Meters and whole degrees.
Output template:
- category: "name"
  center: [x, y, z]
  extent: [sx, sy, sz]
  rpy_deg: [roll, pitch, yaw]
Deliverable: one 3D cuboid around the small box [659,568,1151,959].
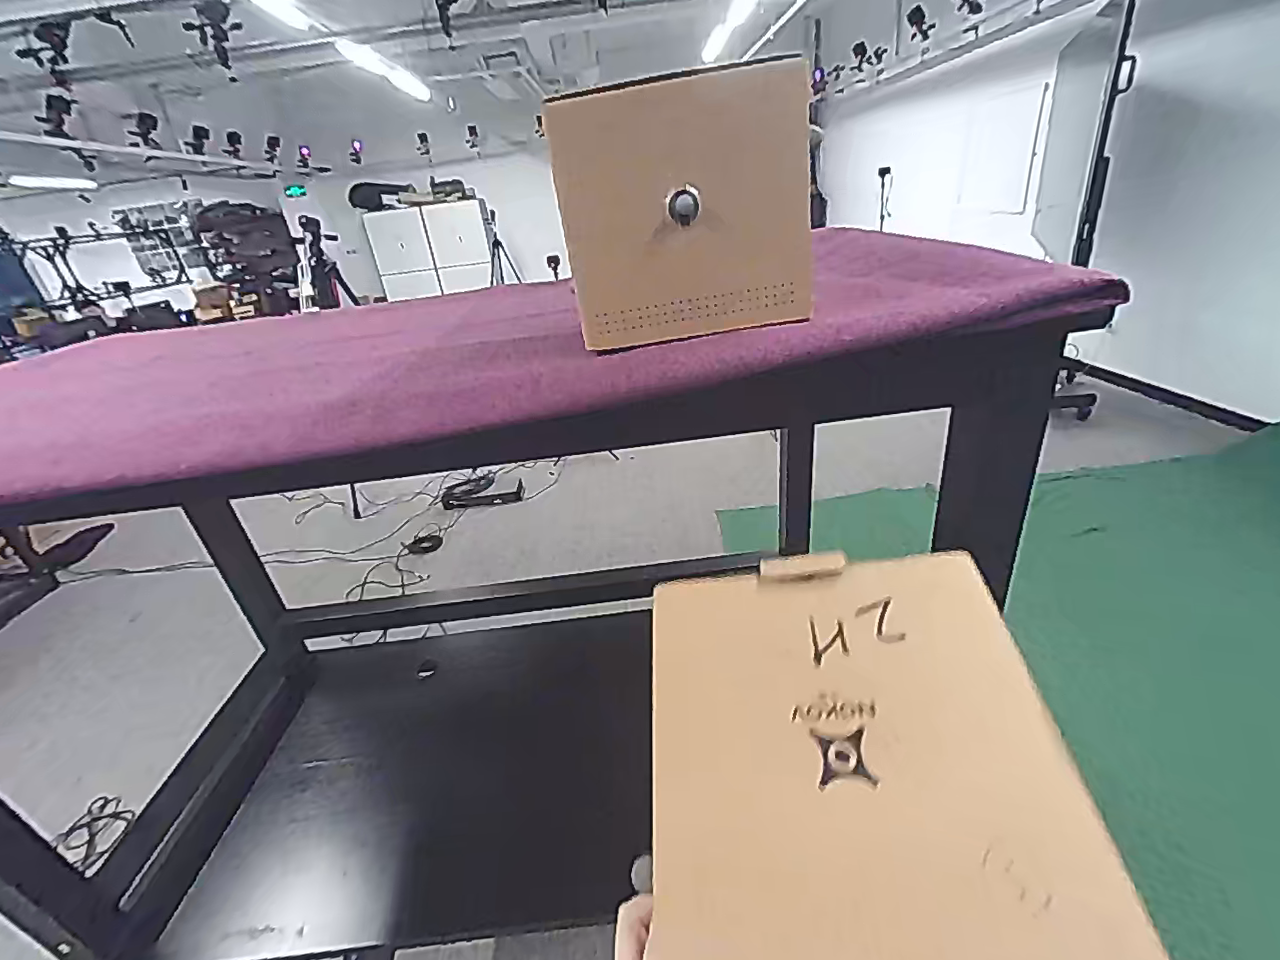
- category: "small box"
  center: [0.107, 0.172, 0.289]
  extent: [0.168, 0.176, 0.179]
  rpy_deg: [-8, 47, 10]
